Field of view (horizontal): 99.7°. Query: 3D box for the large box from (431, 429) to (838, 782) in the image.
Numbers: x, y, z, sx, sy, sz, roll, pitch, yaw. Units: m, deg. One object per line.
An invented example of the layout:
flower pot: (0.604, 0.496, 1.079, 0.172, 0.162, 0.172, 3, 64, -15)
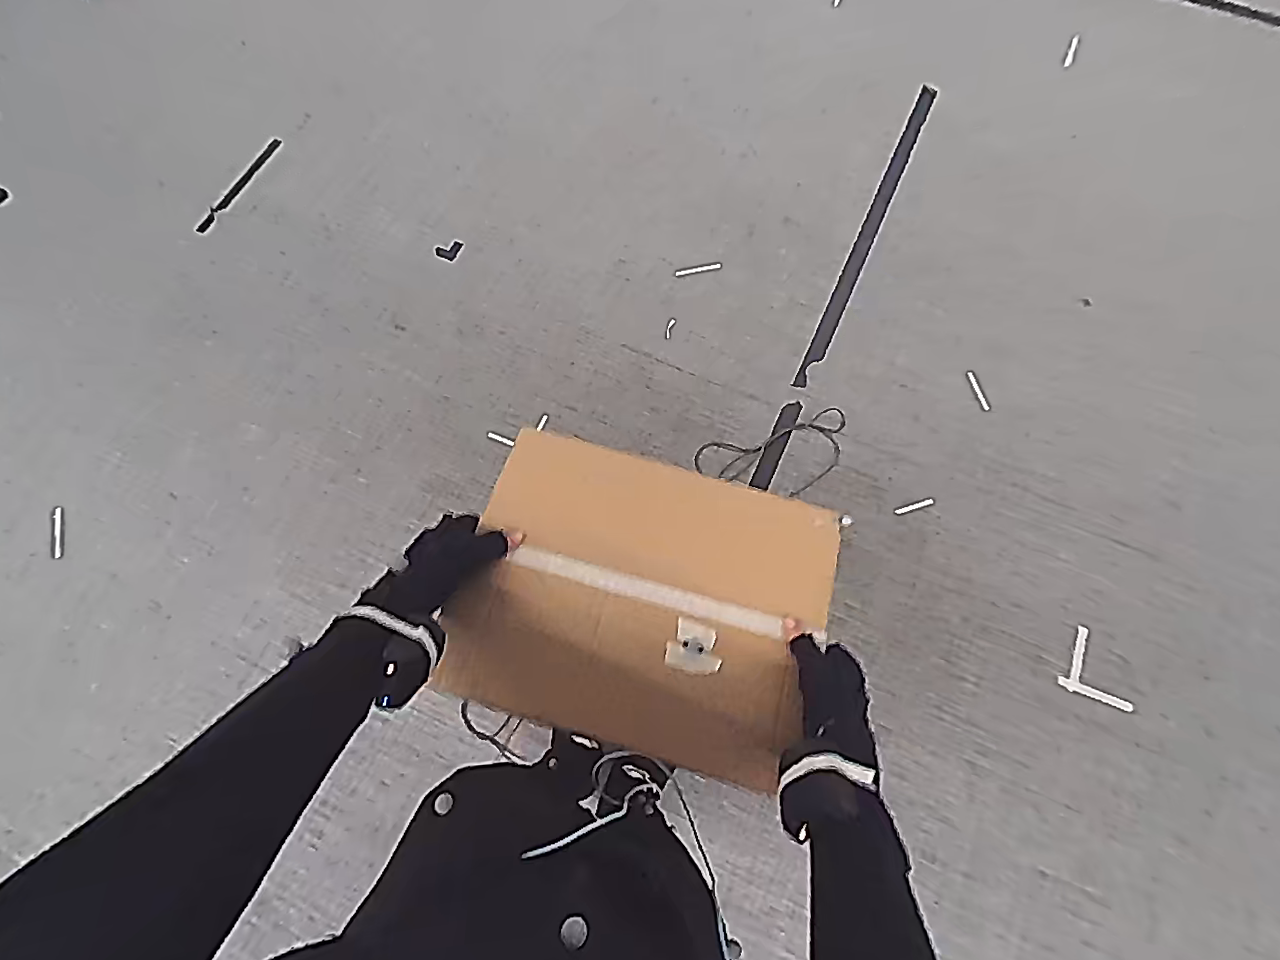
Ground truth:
large box: (0.002, 0.179, 0.742, 0.408, 0.320, 0.320, 16, 66, 4)
